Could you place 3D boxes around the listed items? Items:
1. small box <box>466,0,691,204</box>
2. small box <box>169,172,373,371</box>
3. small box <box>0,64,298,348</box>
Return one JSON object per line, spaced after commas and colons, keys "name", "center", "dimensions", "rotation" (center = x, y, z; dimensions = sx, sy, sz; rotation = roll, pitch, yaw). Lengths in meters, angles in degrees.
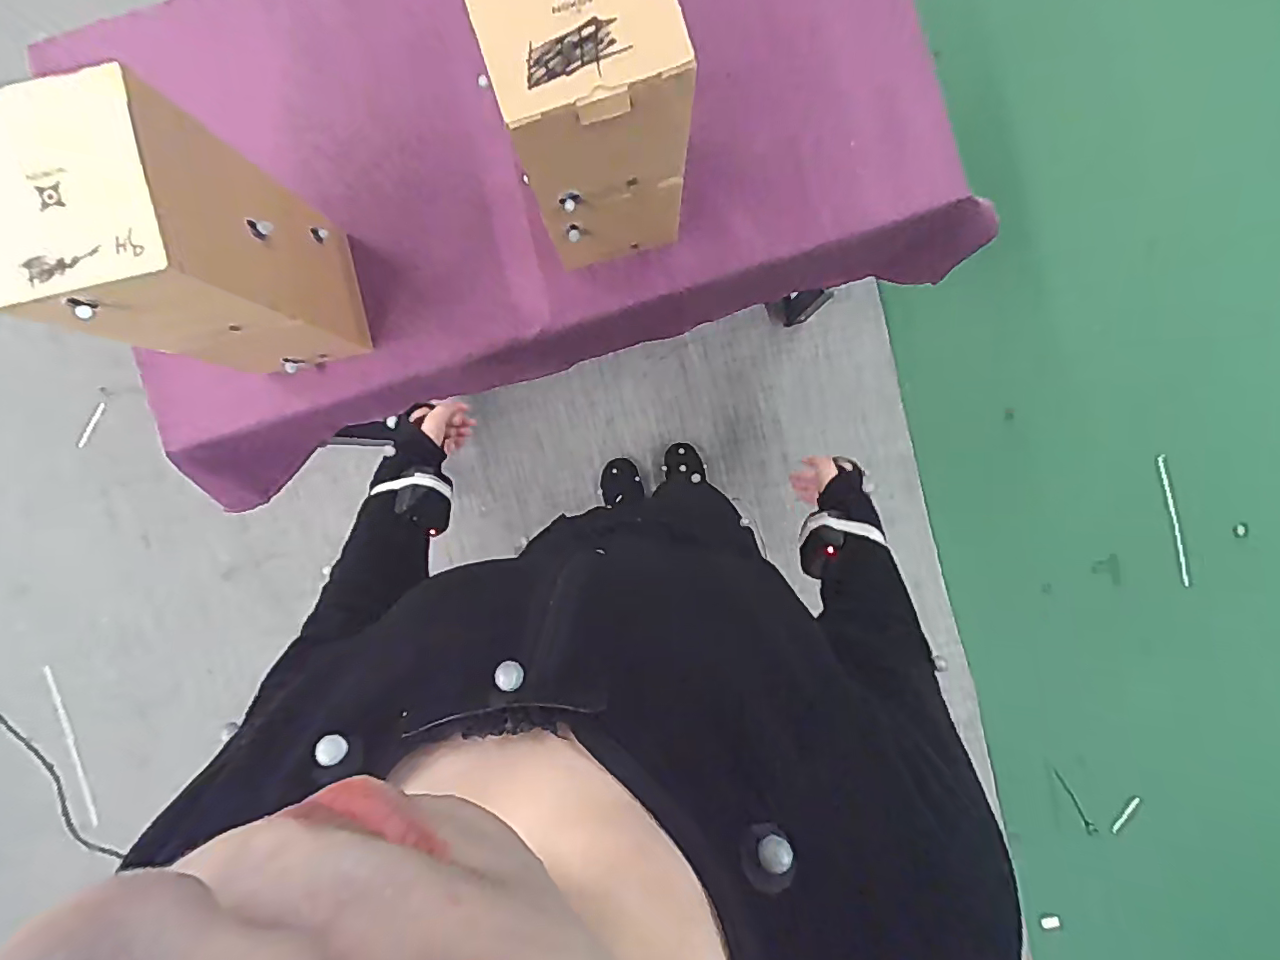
{"name": "small box", "center": [-0.056, -0.396, 0.520], "dimensions": [0.168, 0.176, 0.179], "rotation": [-18, 90, 1]}
{"name": "small box", "center": [-0.477, -0.253, 0.697], "dimensions": [0.168, 0.176, 0.179], "rotation": [-12, 92, 2]}
{"name": "small box", "center": [-0.480, -0.247, 0.532], "dimensions": [0.168, 0.176, 0.179], "rotation": [-12, 91, 3]}
